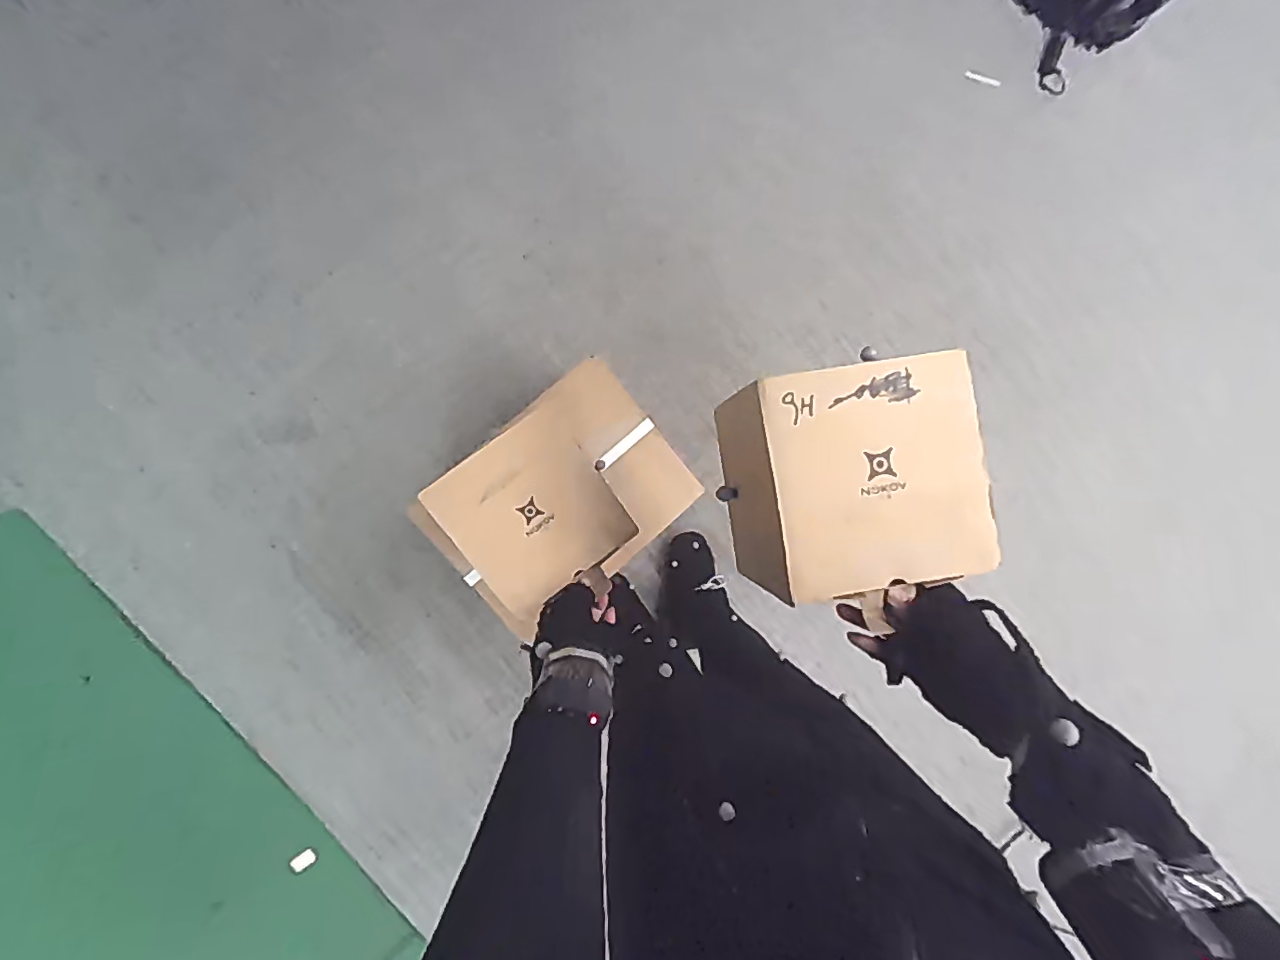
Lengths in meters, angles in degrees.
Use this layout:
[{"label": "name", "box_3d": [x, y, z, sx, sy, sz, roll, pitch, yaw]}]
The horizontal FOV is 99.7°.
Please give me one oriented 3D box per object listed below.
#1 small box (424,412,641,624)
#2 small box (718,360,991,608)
[{"label": "small box", "box_3d": [-0.123, 0.036, 0.656, 0.168, 0.176, 0.179, -38, 98, -6]}, {"label": "small box", "box_3d": [0.177, 0.001, 0.494, 0.168, 0.176, 0.179, -8, 91, -5]}]
